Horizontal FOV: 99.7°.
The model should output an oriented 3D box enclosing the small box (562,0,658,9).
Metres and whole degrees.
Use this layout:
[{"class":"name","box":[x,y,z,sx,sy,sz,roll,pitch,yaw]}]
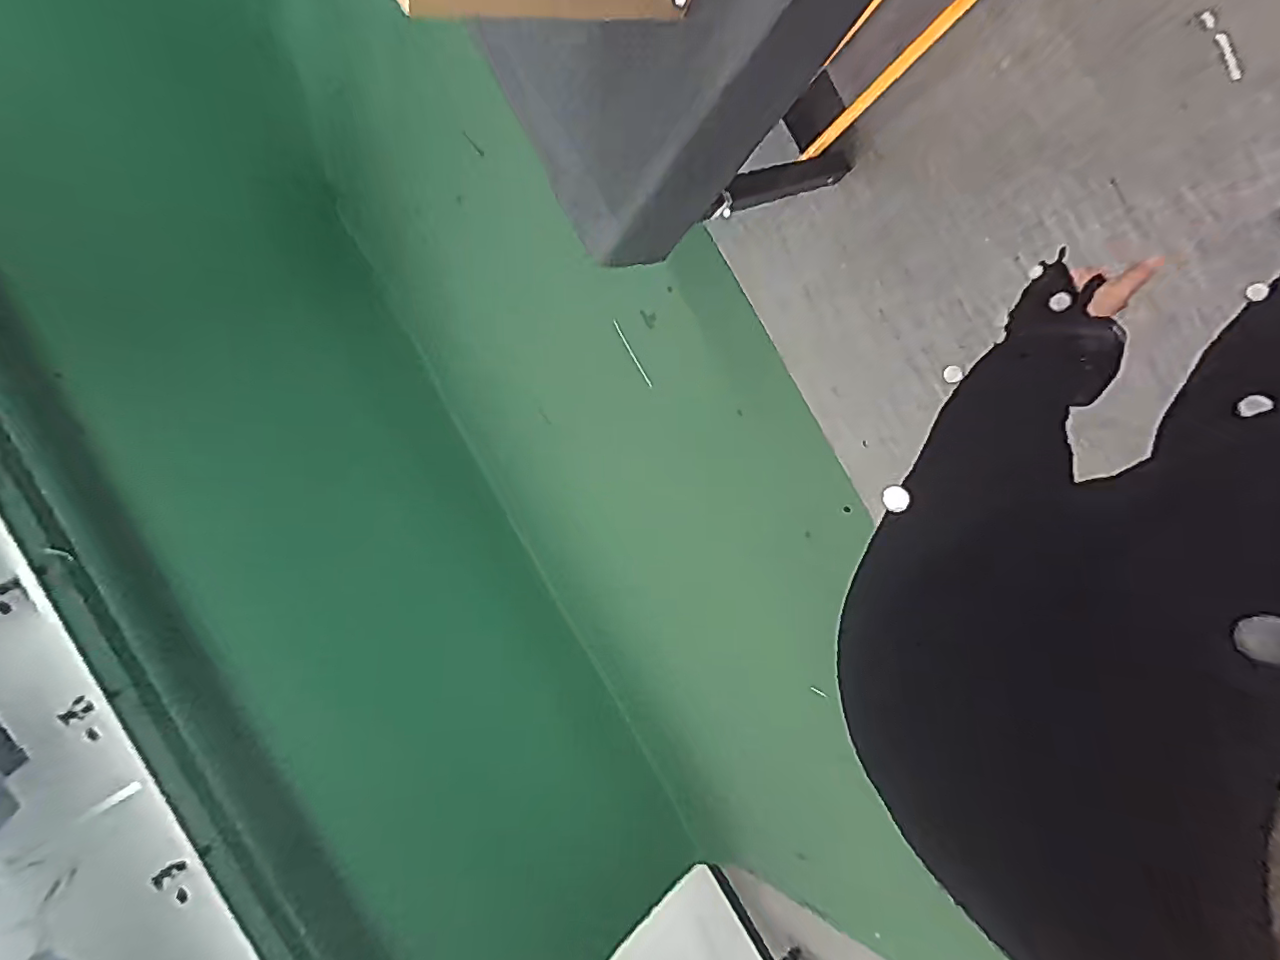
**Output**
[{"class":"small box","box":[-0.022,-0.608,0.520,0.179,0.176,0.168,60,149,2]}]
